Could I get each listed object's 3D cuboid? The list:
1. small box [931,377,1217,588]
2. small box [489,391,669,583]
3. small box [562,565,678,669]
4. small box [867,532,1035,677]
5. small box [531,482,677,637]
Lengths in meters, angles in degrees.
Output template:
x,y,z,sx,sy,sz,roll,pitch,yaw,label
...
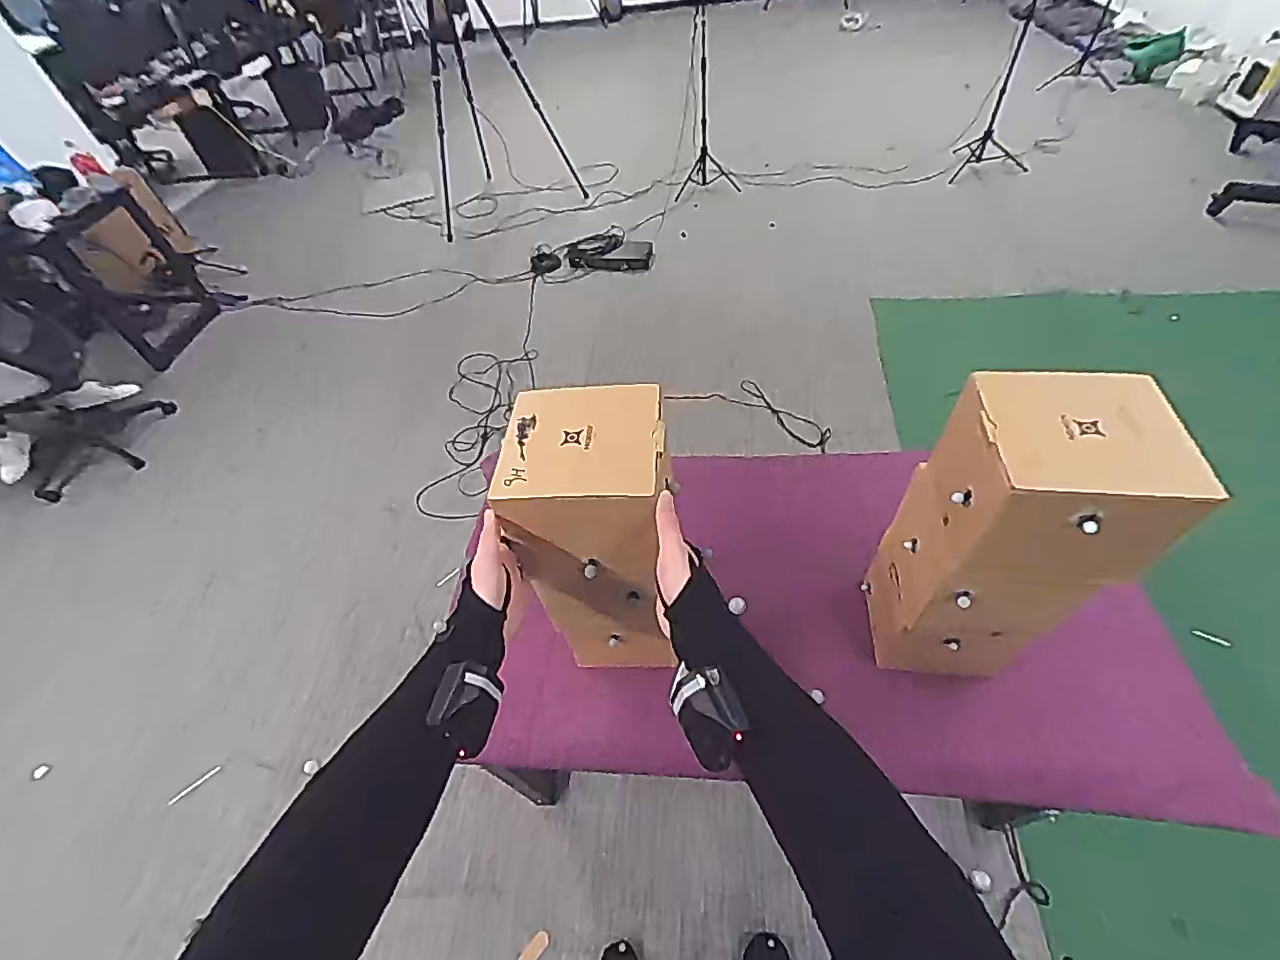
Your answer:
x,y,z,sx,sy,sz,roll,pitch,yaw,label
0.441,0.005,0.596,0.179,0.176,0.168,4,52,10,small box
-0.055,0.011,0.648,0.179,0.176,0.168,-1,49,6,small box
-0.025,0.209,0.913,0.179,0.176,0.168,-2,51,6,small box
0.471,0.200,0.858,0.179,0.176,0.168,2,51,8,small box
-0.038,0.115,0.777,0.179,0.176,0.168,-1,50,7,small box
